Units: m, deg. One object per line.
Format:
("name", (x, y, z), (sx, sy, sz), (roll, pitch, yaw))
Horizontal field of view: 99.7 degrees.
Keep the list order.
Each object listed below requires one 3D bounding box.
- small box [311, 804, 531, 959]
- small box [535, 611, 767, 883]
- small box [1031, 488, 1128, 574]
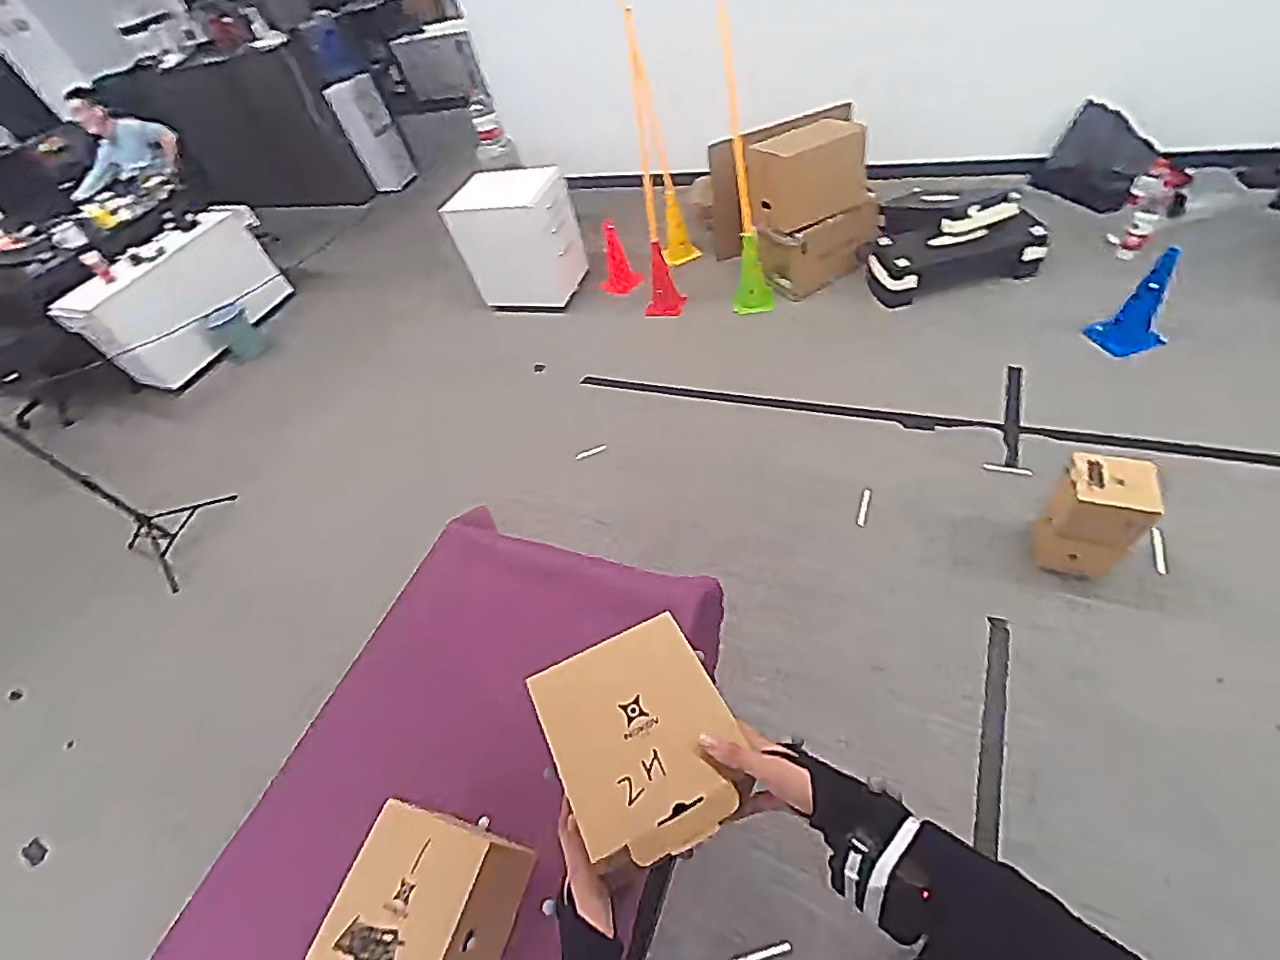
("small box", (-0.264, 0.552, 0.696), (0.168, 0.176, 0.179), (7, 54, 20))
("small box", (0.007, 0.276, 0.563), (0.168, 0.176, 0.179), (-22, 49, -15))
("small box", (1.258, 0.150, 1.559), (0.168, 0.176, 0.179), (7, 54, 21))
